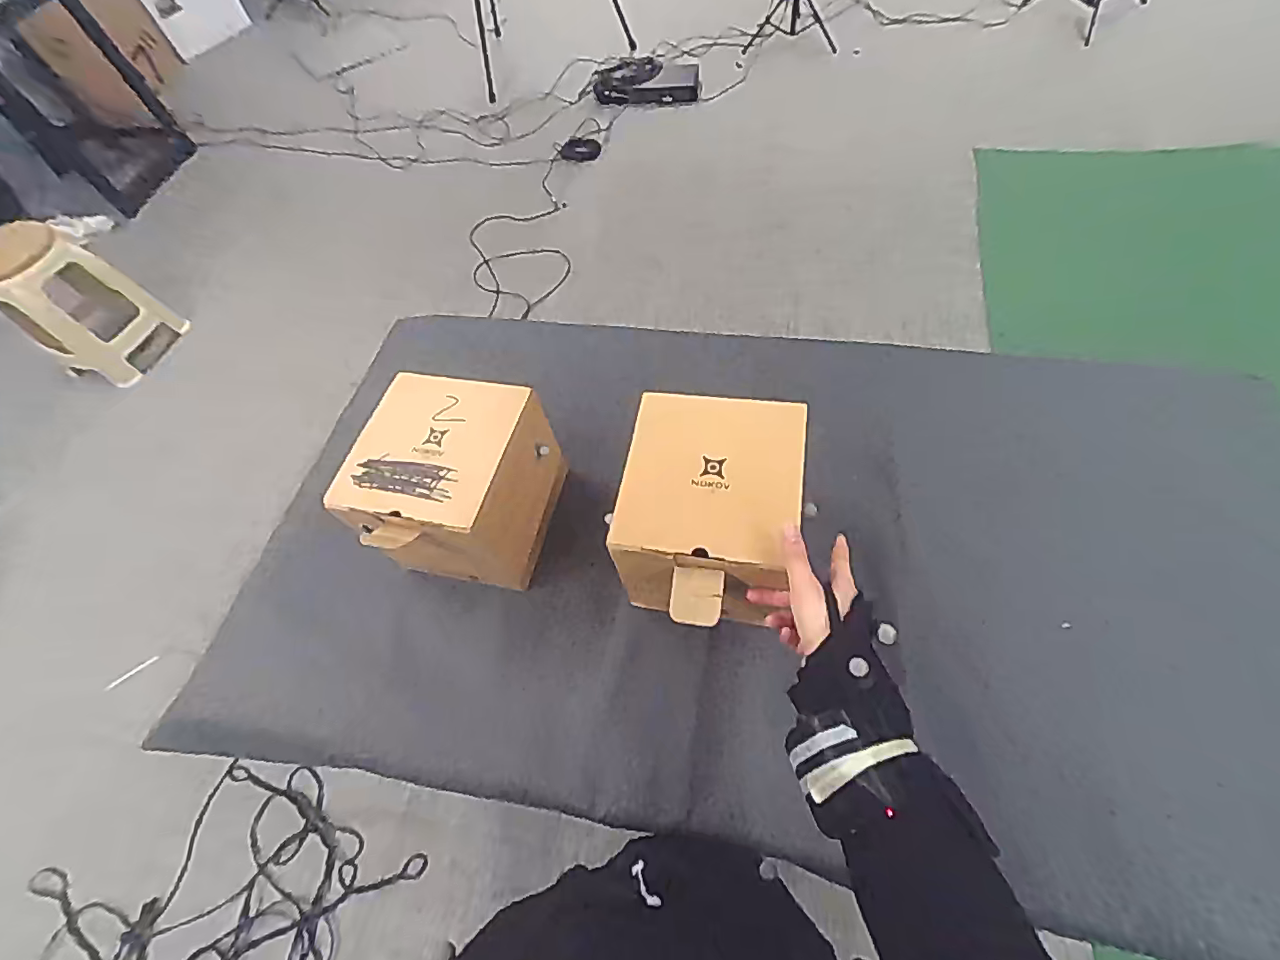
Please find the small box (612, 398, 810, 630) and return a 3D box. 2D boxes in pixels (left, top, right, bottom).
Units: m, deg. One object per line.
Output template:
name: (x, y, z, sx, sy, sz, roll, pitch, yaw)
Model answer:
small box: (0.078, 0.040, 0.568, 0.168, 0.176, 0.179, 6, 61, 11)
